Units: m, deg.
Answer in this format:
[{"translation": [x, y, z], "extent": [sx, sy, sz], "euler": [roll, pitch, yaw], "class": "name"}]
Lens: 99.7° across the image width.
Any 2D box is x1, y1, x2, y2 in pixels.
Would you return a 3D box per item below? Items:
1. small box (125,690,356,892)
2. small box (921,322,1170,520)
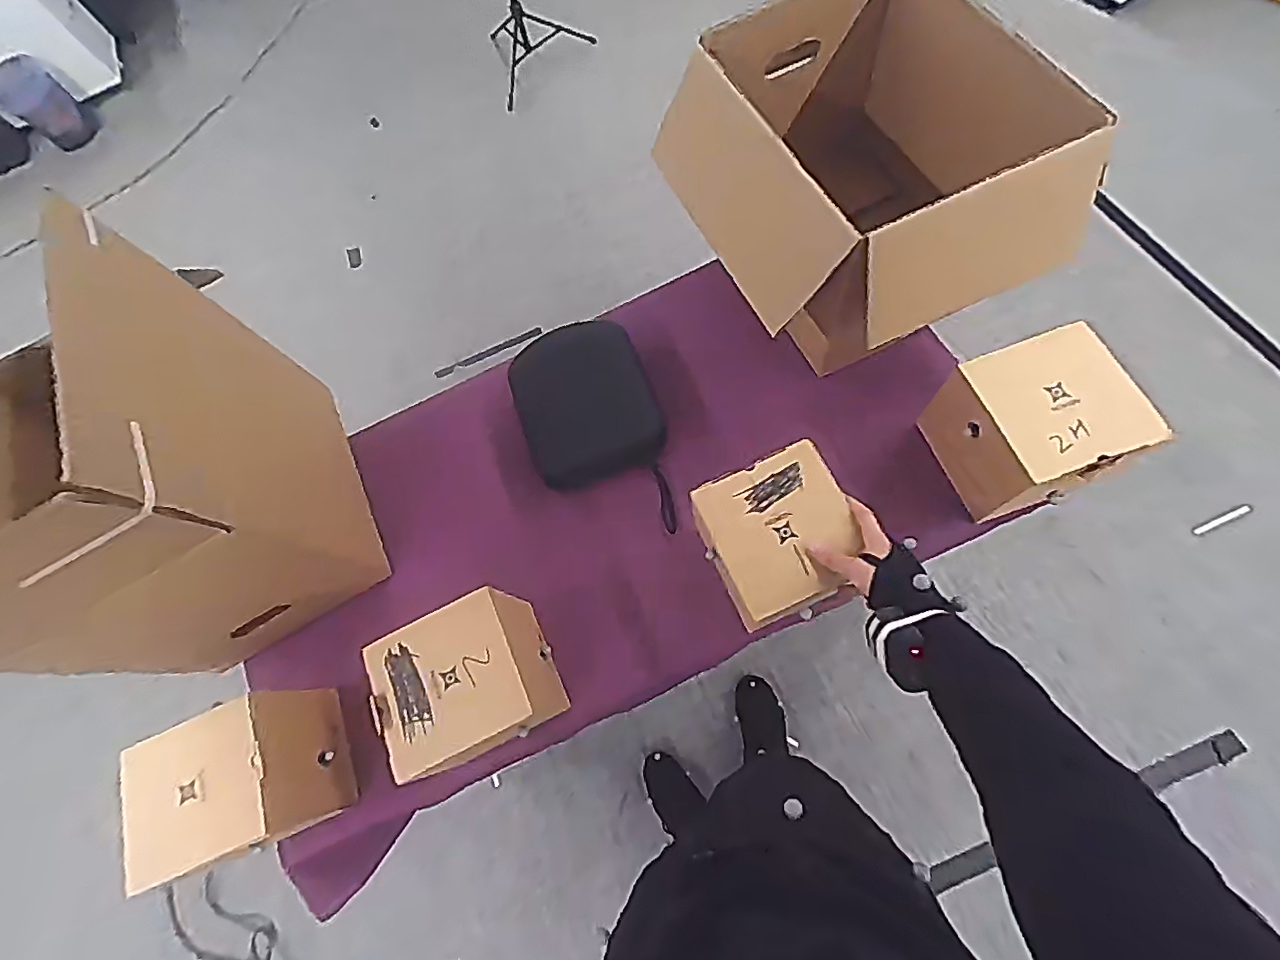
[{"translation": [-0.518, 0.394, 0.716], "extent": [0.179, 0.176, 0.168], "euler": [-25, 68, -2], "class": "small box"}, {"translation": [0.509, -0.068, 0.715], "extent": [0.168, 0.176, 0.179], "euler": [-20, 68, 3], "class": "small box"}]
